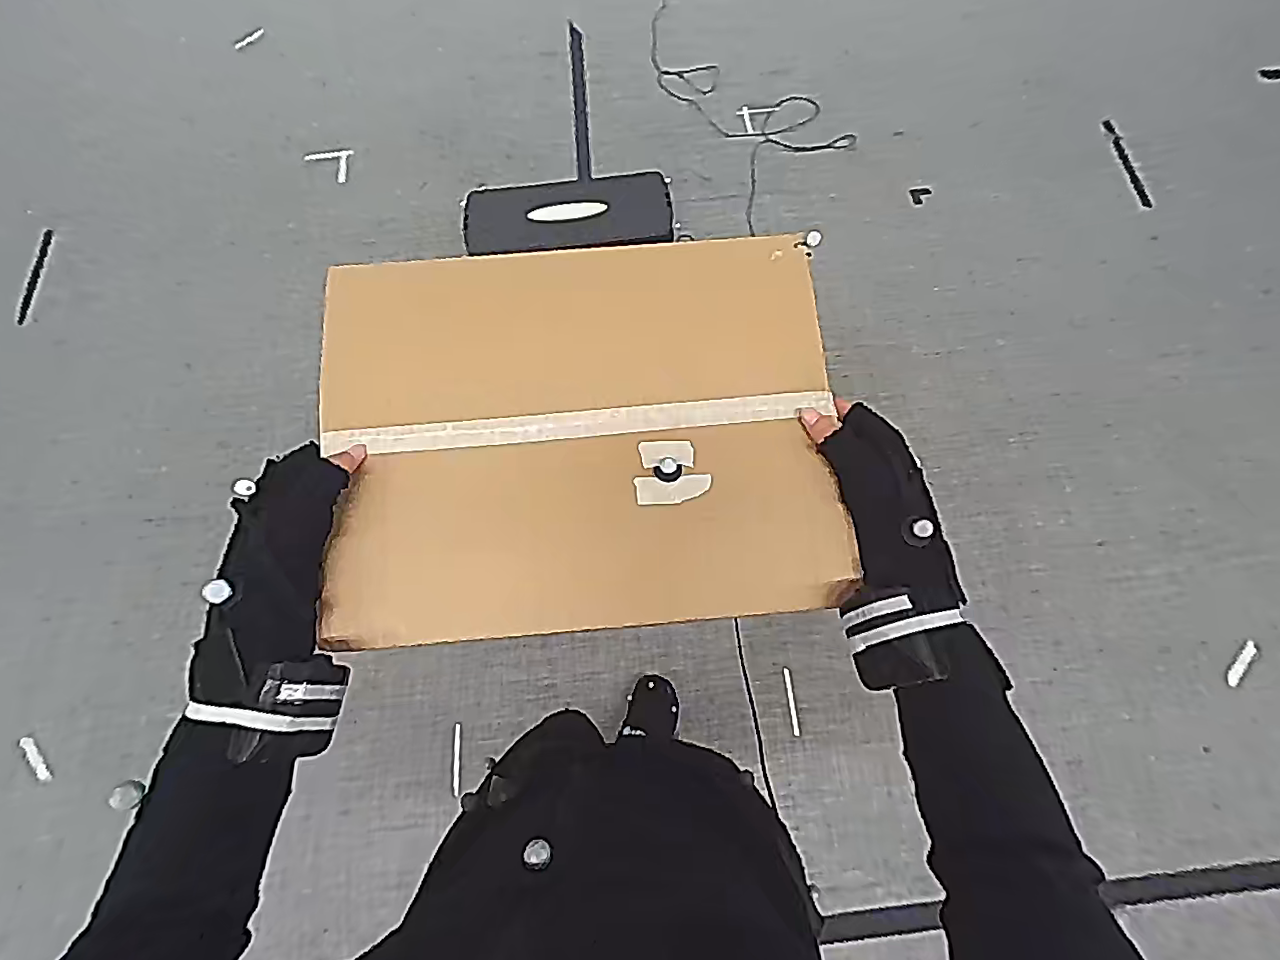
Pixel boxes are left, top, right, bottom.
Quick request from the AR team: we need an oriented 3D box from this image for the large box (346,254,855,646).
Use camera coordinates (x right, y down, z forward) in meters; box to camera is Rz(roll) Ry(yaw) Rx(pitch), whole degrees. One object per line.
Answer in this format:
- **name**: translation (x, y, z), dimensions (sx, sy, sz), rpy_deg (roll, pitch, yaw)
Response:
- **large box**: translation (-0.043, -0.006, 0.594), dimensions (0.408, 0.320, 0.320), rpy_deg (-4, 78, -1)
